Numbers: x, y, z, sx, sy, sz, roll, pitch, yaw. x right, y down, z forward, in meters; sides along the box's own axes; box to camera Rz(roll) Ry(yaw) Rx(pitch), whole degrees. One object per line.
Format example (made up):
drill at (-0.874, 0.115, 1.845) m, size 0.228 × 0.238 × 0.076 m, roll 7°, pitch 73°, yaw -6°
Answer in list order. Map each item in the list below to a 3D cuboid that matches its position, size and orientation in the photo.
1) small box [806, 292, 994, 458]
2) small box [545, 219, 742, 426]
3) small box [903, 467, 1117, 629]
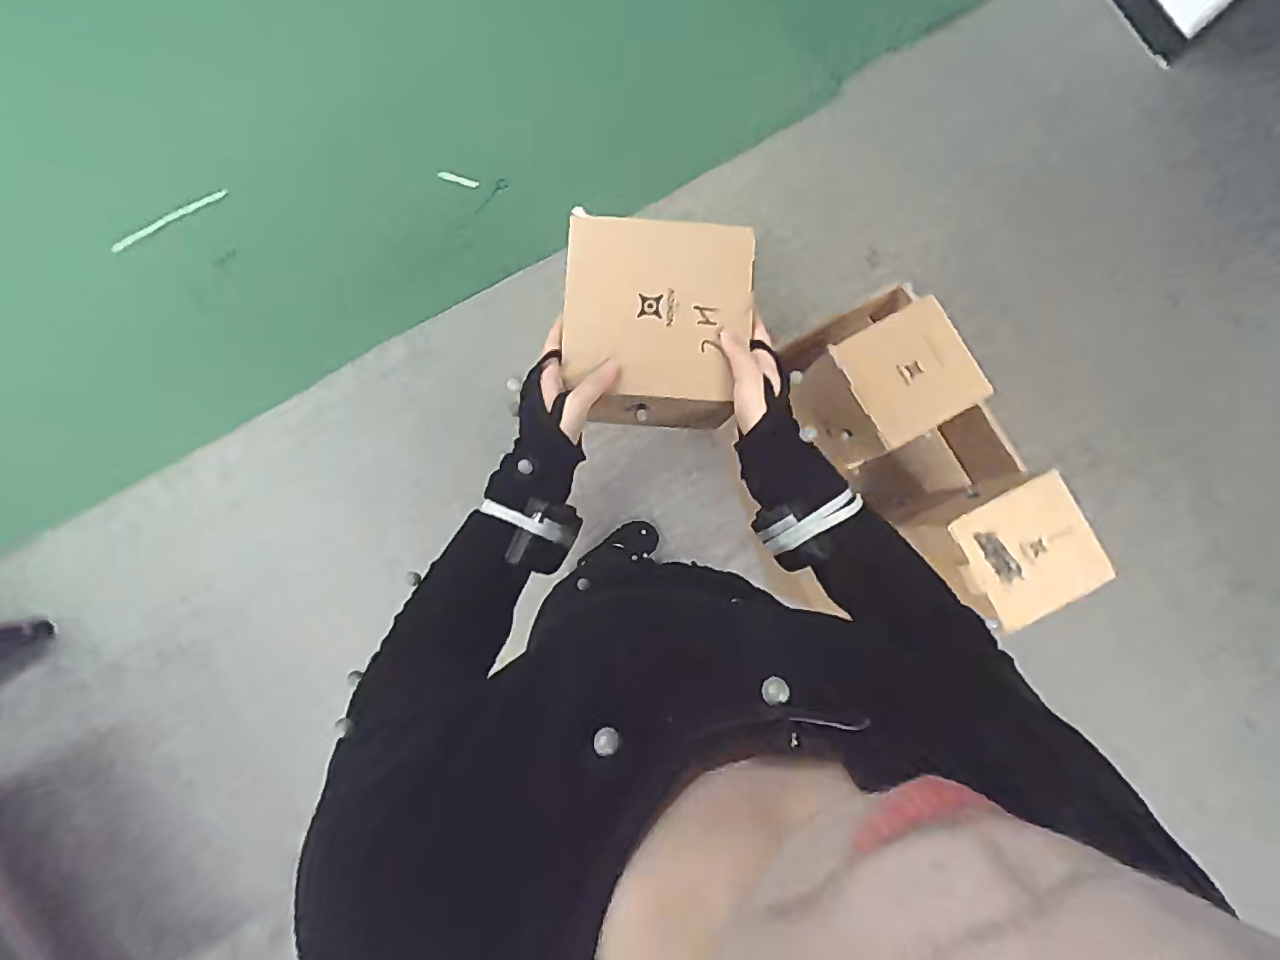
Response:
small box at (0.376, -0.147, 0.825) m, size 0.179 × 0.176 × 0.168 m, roll -28°, pitch 86°, yaw -3°
small box at (0.003, -0.153, 0.577) m, size 0.179 × 0.176 × 0.168 m, roll 3°, pitch 87°, yaw -1°
small box at (0.524, 0.099, 0.801) m, size 0.179 × 0.176 × 0.168 m, roll -26°, pitch 85°, yaw -3°
